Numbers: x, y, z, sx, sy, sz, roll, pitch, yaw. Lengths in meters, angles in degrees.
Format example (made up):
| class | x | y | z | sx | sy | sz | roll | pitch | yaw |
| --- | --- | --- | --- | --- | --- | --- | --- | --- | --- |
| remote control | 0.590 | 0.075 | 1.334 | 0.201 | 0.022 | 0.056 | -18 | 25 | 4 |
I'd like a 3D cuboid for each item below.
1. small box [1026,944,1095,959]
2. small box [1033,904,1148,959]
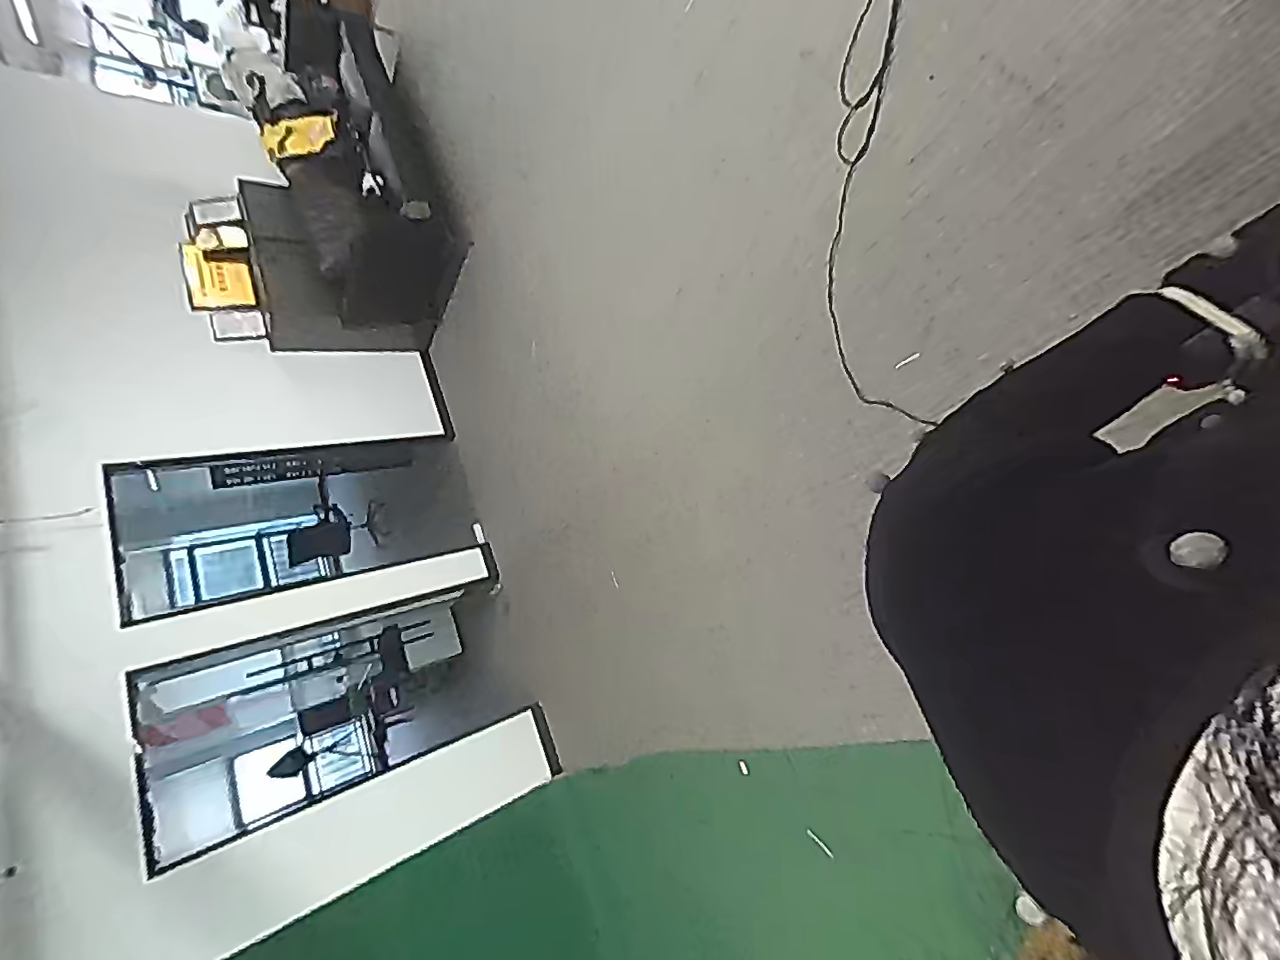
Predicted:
| class | x | y | z | sx | sy | sz | roll | pitch | yaw |
| --- | --- | --- | --- | --- | --- | --- | --- | --- | --- |
| small box | 0.966 | 1.187 | 1.185 | 0.168 | 0.176 | 0.179 | -35 | 72 | 49 |
| small box | 1.092 | 1.163 | 1.289 | 0.168 | 0.176 | 0.179 | -38 | 69 | 49 |
